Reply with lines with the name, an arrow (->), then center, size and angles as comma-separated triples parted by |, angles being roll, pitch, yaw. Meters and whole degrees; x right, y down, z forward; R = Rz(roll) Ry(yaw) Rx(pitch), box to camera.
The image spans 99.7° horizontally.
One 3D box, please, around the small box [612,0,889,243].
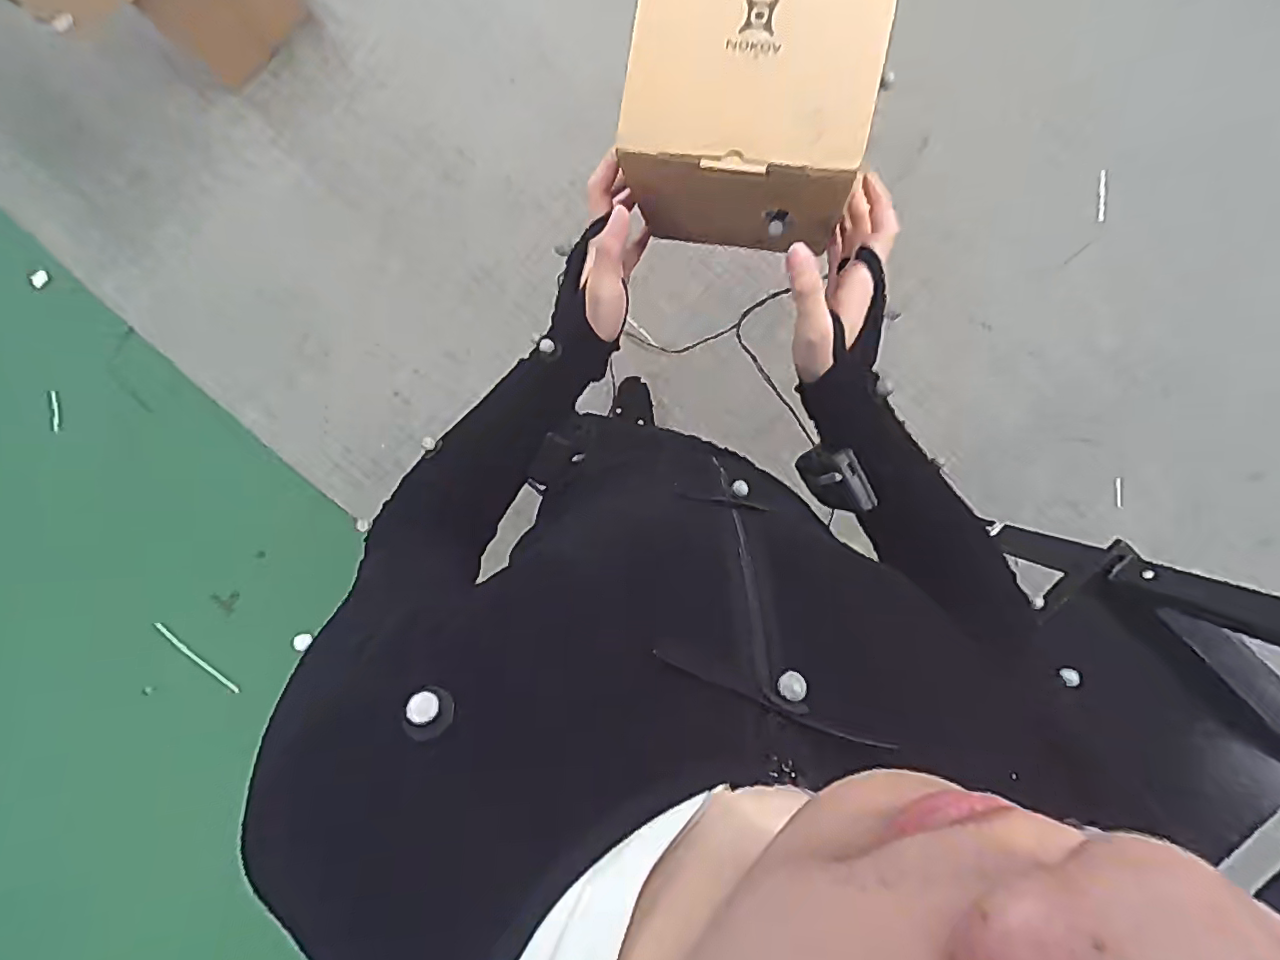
small box -> 0.087, -0.304, 0.424 | 0.168, 0.176, 0.179 | 10, 97, 9
